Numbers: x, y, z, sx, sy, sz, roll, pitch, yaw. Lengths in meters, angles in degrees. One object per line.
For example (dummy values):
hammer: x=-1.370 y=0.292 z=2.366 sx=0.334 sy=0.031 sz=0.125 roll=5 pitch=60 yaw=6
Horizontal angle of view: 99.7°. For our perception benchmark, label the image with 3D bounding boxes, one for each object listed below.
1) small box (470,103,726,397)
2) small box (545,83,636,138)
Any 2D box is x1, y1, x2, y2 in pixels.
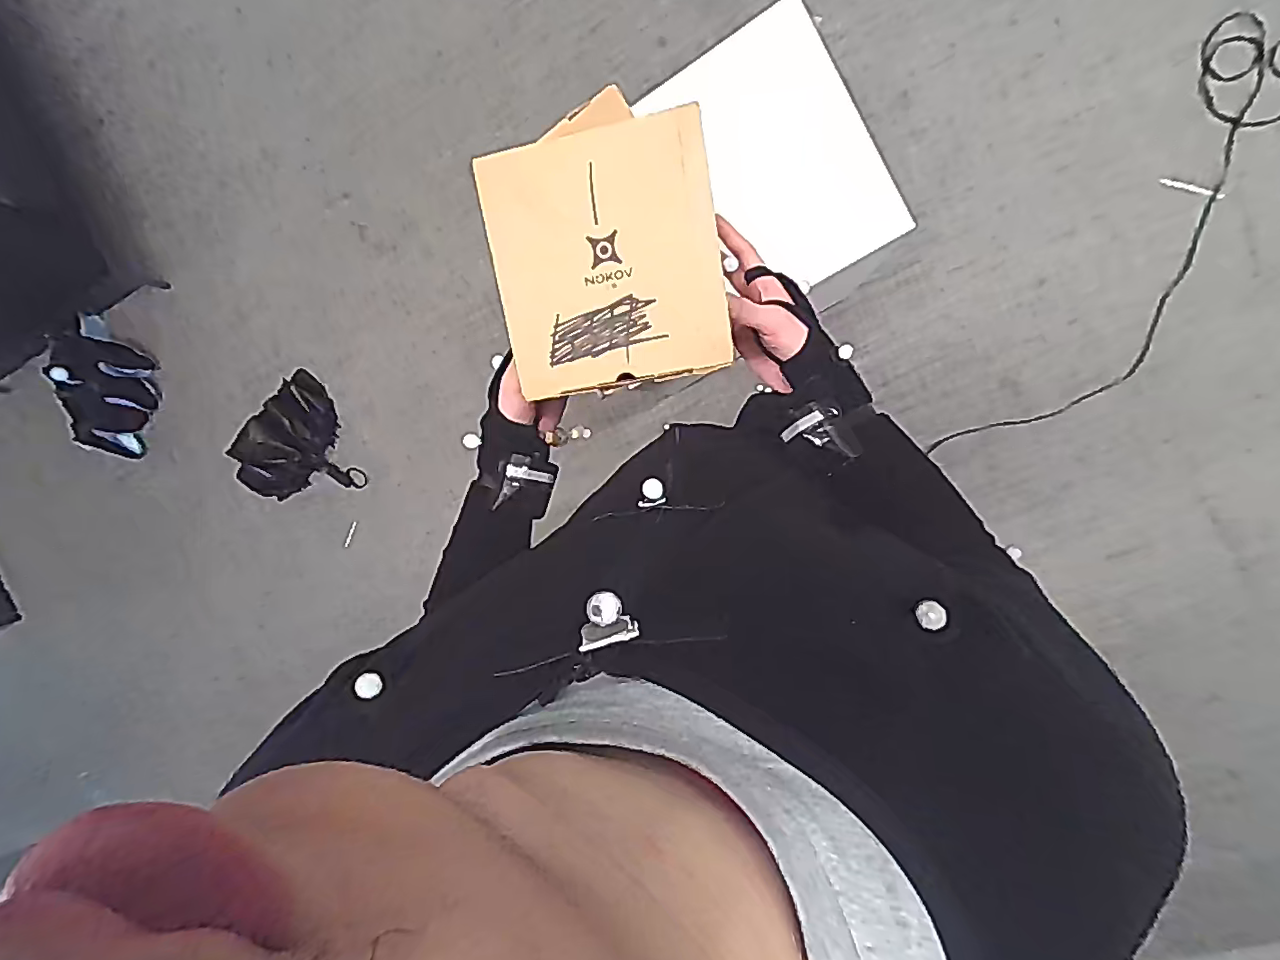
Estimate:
small box: x=-0.017 y=-0.176 z=0.466 sx=0.168 sy=0.176 sz=0.179 roll=-8 pitch=102 yaw=10
small box: x=-0.034 y=-0.319 z=0.667 sx=0.168 sy=0.176 sz=0.179 roll=-31 pitch=92 yaw=14
